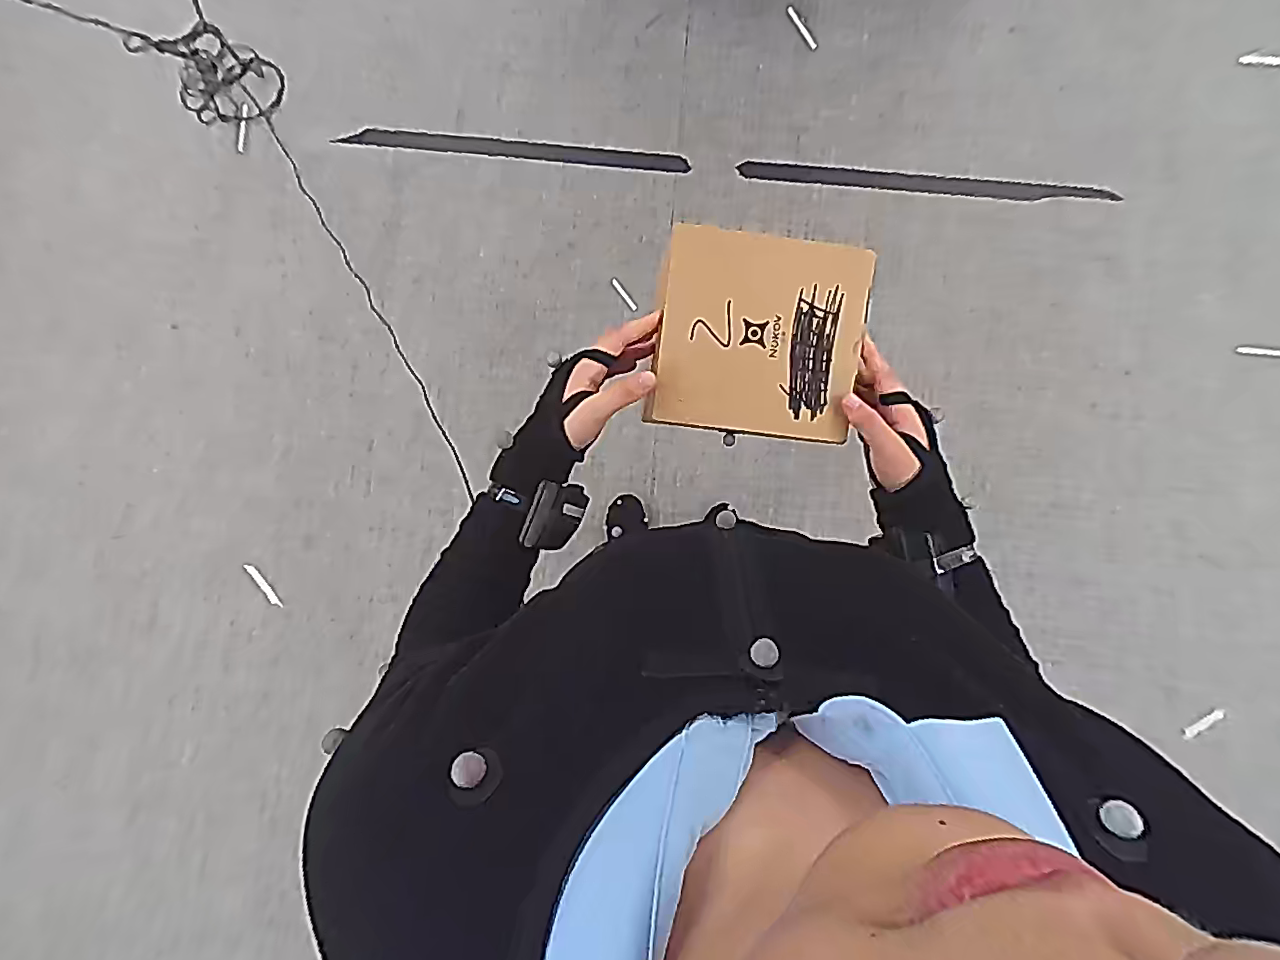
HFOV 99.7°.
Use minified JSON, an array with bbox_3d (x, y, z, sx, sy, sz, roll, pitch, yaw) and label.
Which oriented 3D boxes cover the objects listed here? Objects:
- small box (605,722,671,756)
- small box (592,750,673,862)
[{"bbox_3d":[-0.014,0.756,1.410,0.168,0.176,0.179,8,89,2],"label":"small box"},{"bbox_3d":[-0.013,0.743,1.247,0.179,0.176,0.168,-1,88,1],"label":"small box"}]
